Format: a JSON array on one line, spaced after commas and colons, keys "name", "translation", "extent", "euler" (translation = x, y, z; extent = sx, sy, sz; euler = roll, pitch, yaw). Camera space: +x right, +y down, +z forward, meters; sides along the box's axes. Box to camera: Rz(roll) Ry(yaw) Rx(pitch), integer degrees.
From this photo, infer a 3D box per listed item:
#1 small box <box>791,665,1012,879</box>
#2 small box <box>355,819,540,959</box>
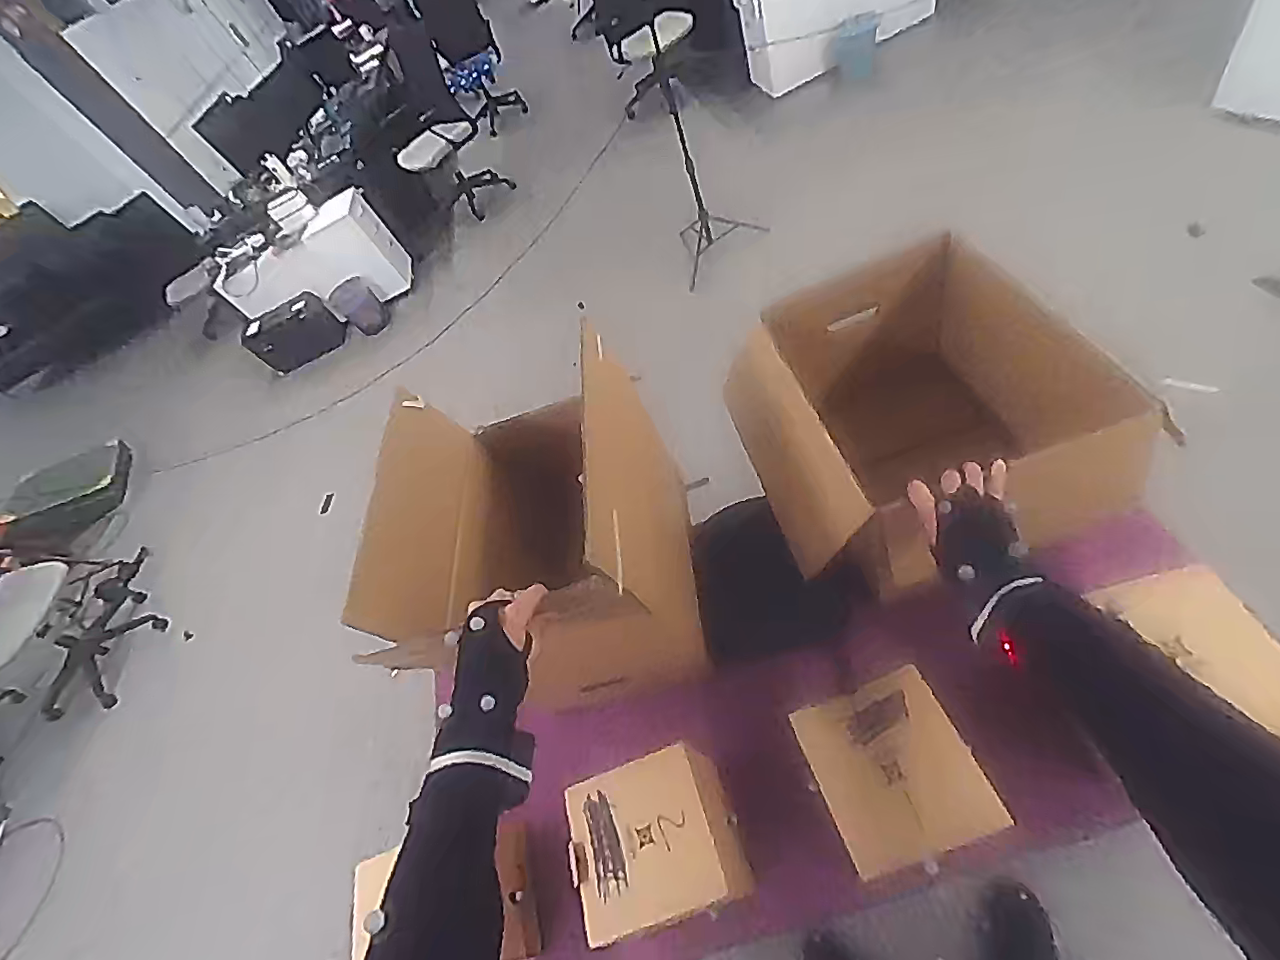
[{"name": "small box", "translation": [0.306, 0.360, 0.662], "extent": [0.168, 0.176, 0.179], "euler": [-26, 51, 7]}, {"name": "small box", "translation": [-0.265, 0.604, 0.757], "extent": [0.179, 0.176, 0.168], "euler": [-26, 50, 4]}]
